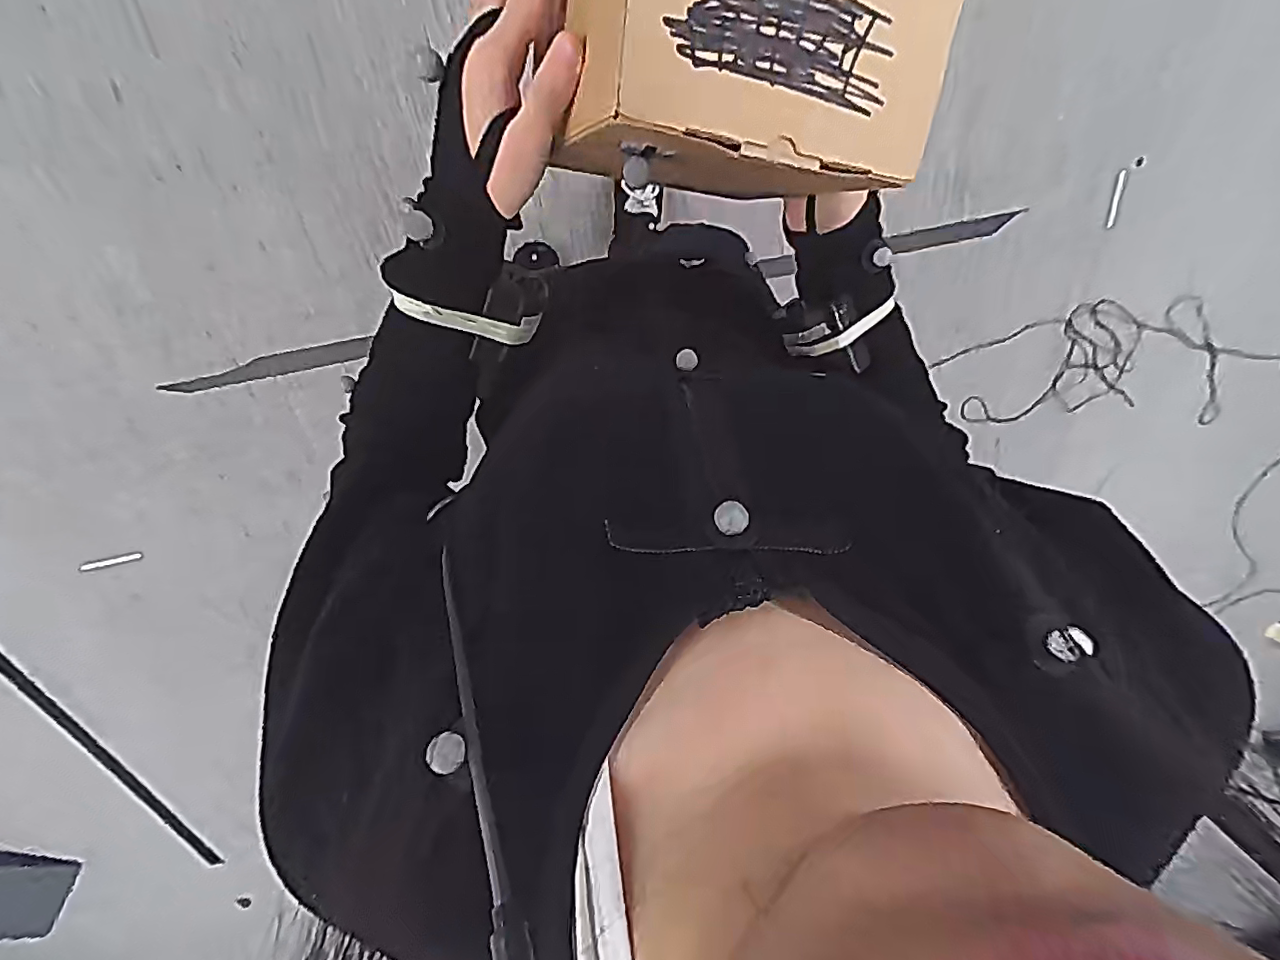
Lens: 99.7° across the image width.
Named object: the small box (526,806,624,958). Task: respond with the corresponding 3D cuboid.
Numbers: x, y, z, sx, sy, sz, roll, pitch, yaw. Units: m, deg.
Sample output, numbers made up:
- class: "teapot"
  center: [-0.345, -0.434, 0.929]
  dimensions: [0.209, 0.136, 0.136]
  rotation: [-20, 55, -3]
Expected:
- class: "small box"
  center: [-0.127, 0.784, 1.064]
  dimensions: [0.168, 0.176, 0.179]
  rotation: [-9, 118, -8]
